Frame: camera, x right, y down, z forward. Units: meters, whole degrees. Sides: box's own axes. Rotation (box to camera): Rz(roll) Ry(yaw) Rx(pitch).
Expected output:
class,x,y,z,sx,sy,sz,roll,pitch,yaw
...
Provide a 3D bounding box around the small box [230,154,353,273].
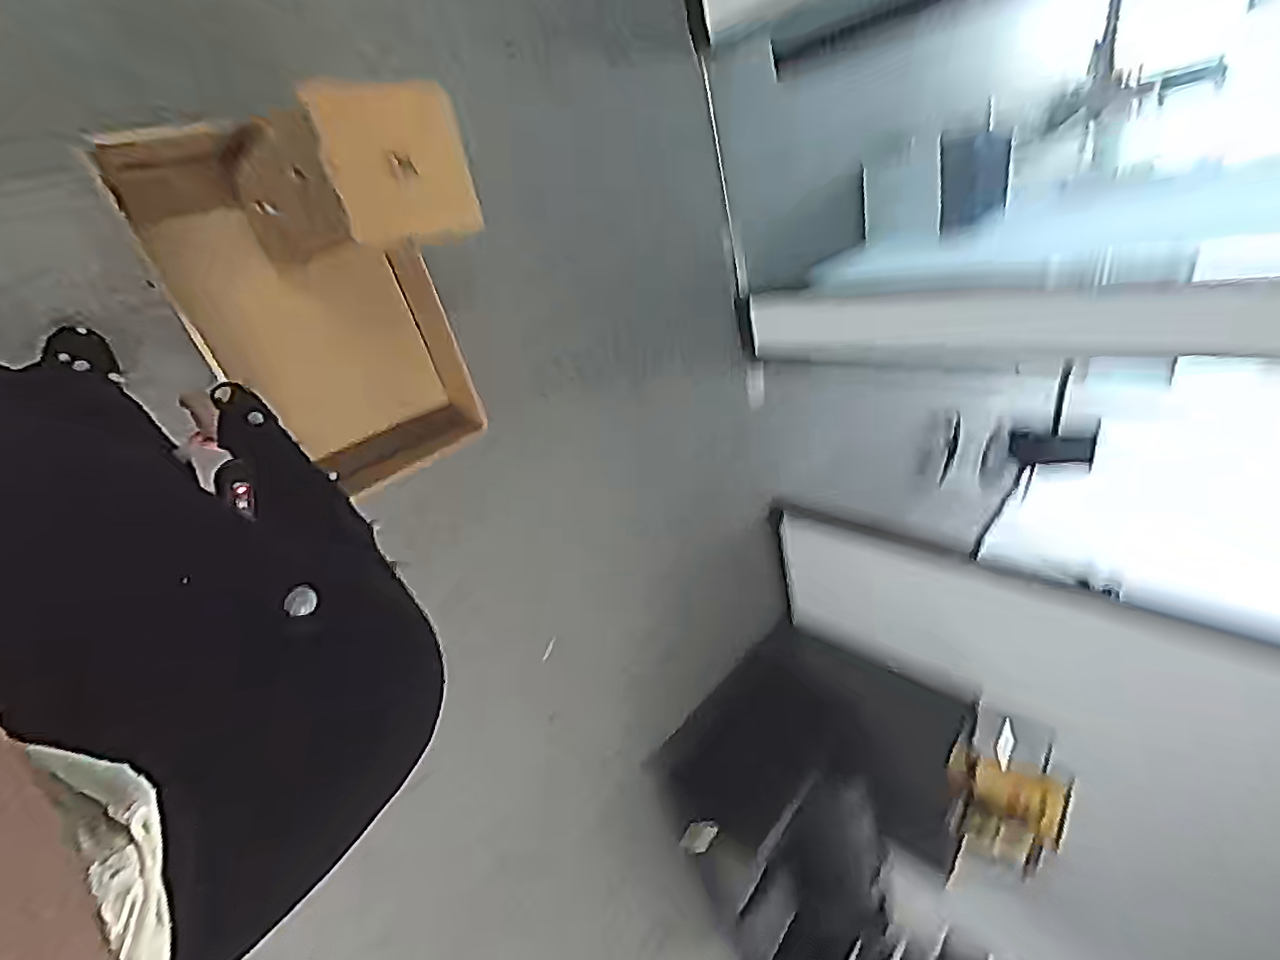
class,x,y,z,sx,sy,sz,roll,pitch,yaw
small box,-0.573,-0.468,0.948,0.179,0.176,0.168,-32,122,-34

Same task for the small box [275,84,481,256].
class,x,y,z,sx,sy,sz,roll,pitch,yaw
small box,-0.347,-0.403,0.722,0.179,0.176,0.168,-28,120,-35

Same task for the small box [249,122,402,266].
class,x,y,z,sx,sy,sz,roll,pitch,yaw
small box,-0.460,-0.436,0.834,0.179,0.176,0.168,-30,120,-35
